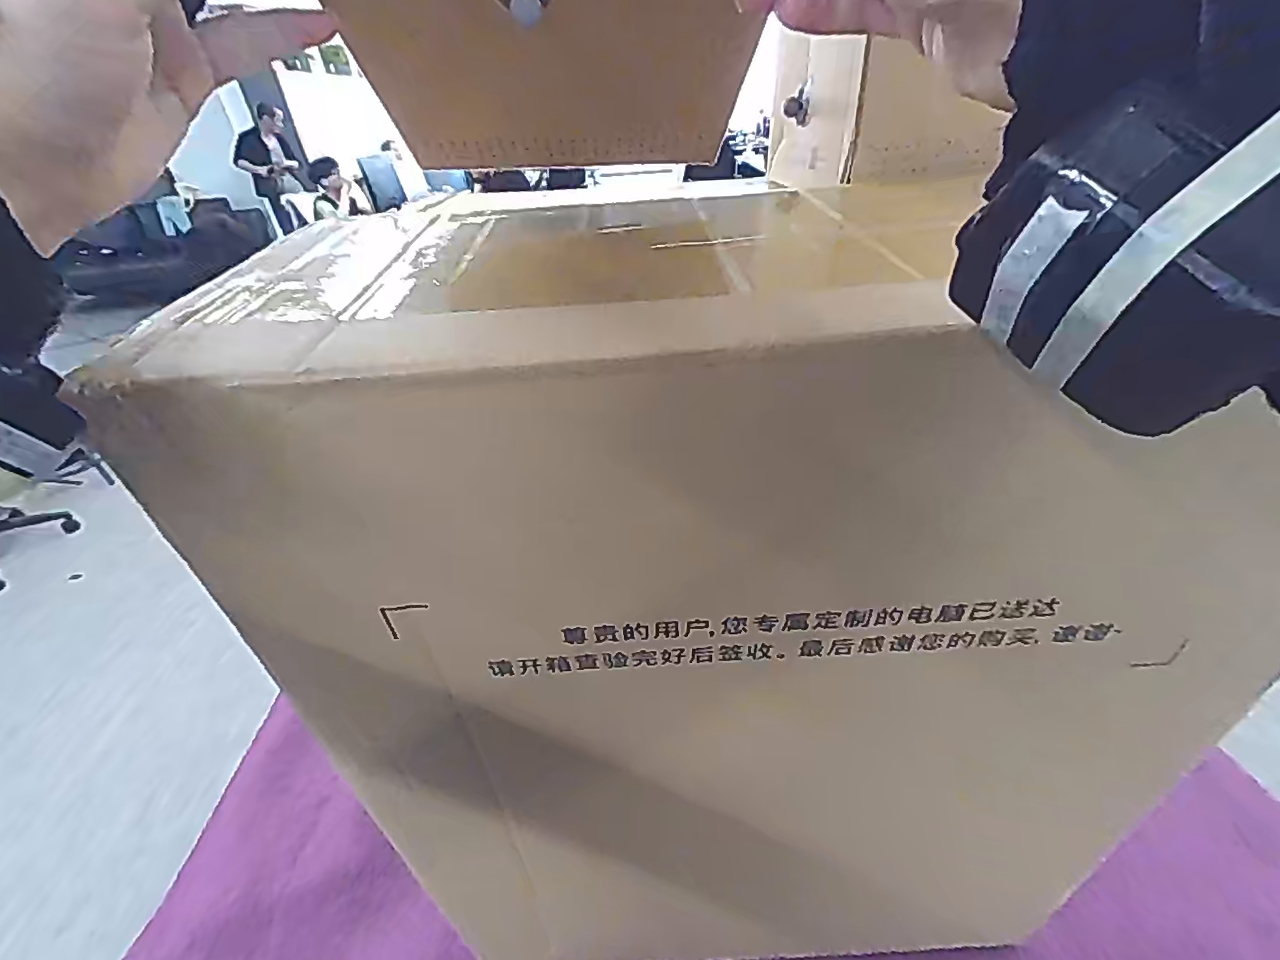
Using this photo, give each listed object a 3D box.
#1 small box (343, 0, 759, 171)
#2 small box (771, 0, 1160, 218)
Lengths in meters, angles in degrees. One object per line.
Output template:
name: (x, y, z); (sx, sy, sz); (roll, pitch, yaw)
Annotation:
small box: (-0.040, -0.260, 0.236); (0.179, 0.168, 0.176); (-4, 2, -5)
small box: (0.200, -0.289, 0.367); (0.179, 0.176, 0.168); (-8, 35, -3)
